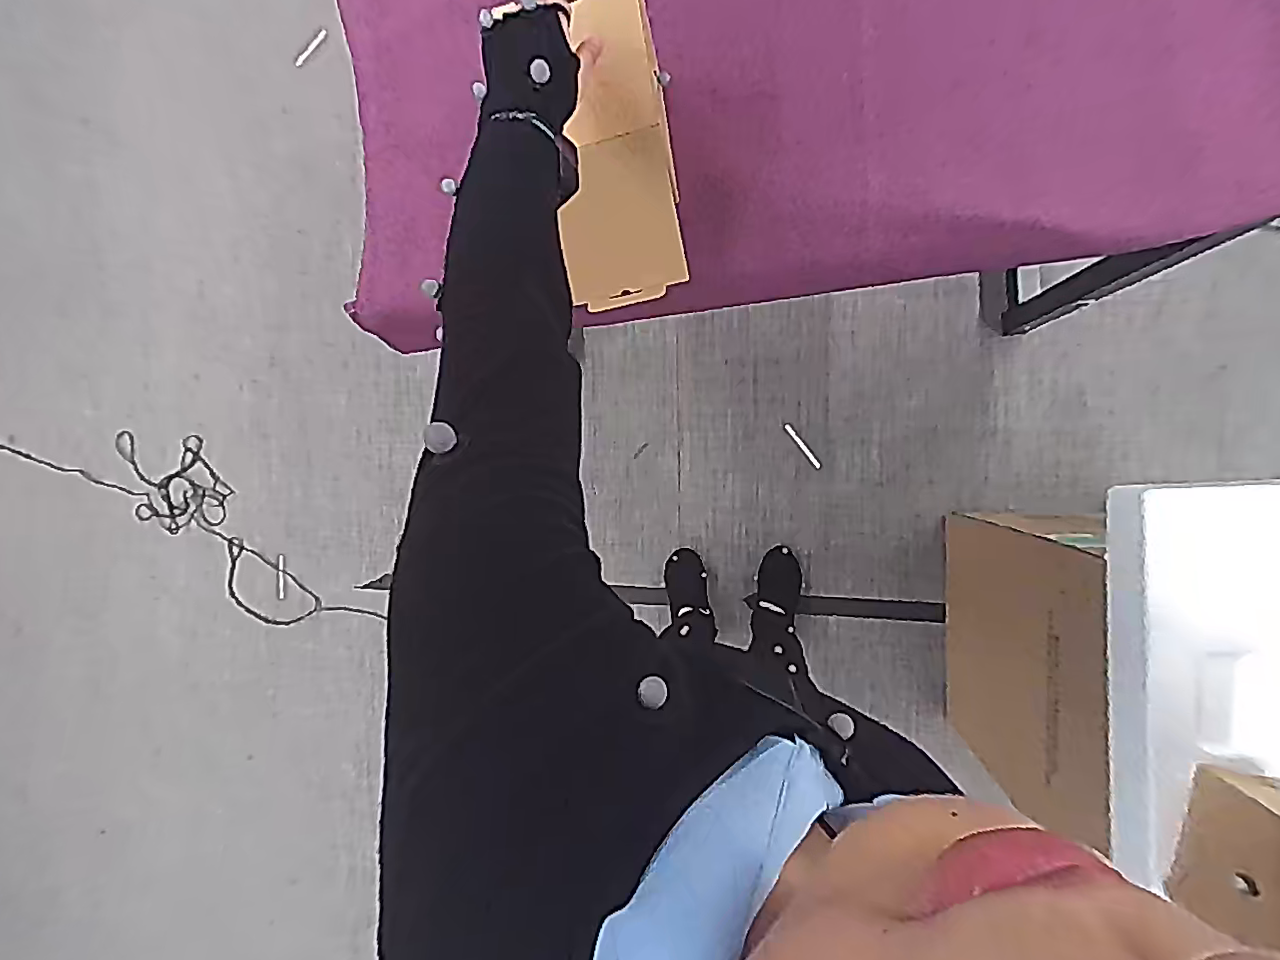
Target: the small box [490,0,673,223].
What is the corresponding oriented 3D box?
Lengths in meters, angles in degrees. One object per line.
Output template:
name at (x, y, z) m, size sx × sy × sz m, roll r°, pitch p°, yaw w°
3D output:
small box at (-0.059, -0.436, 0.652) m, size 0.168 × 0.176 × 0.179 m, roll -8°, pitch 89°, yaw 10°
